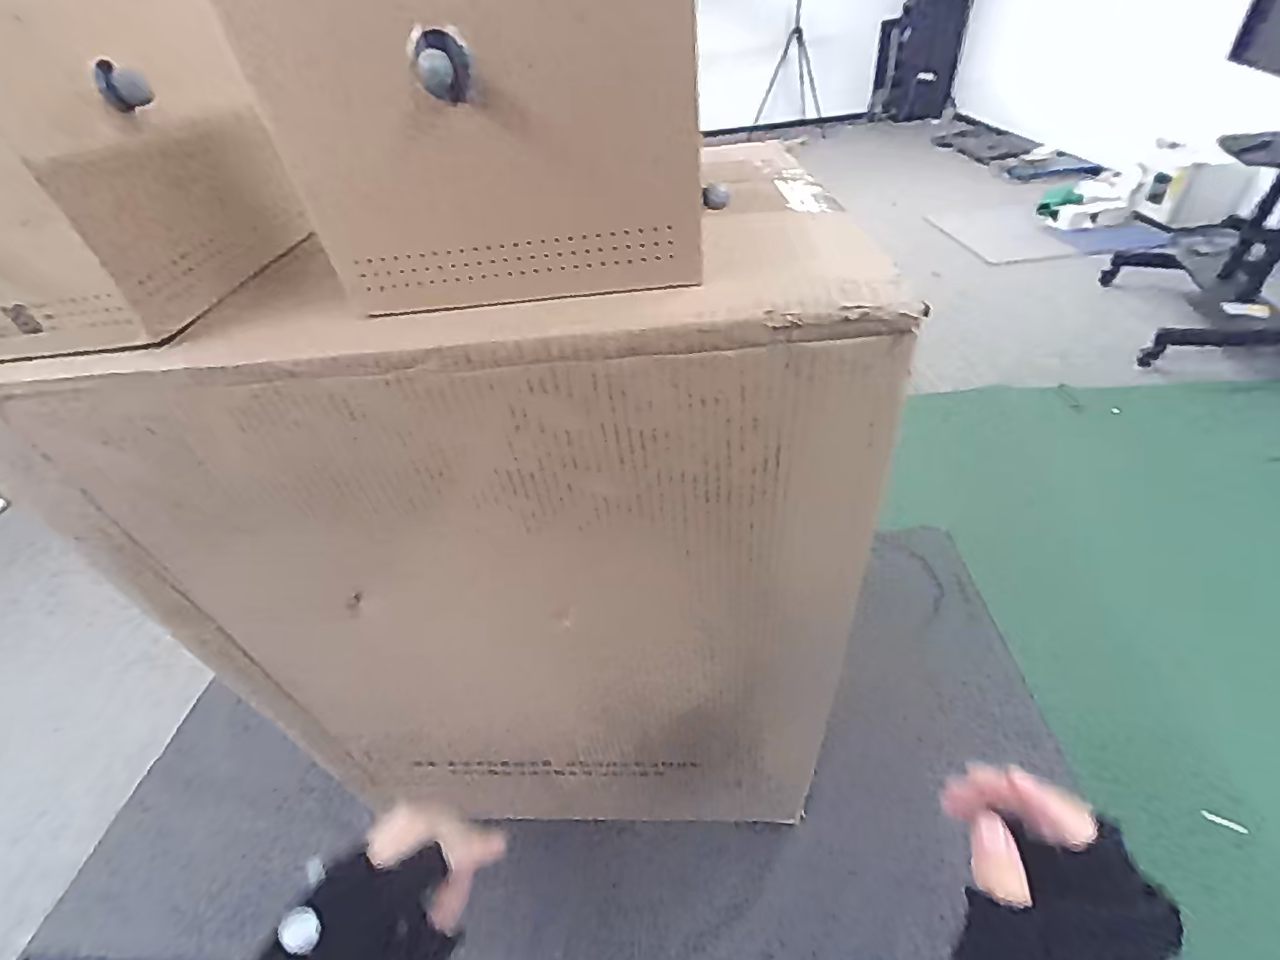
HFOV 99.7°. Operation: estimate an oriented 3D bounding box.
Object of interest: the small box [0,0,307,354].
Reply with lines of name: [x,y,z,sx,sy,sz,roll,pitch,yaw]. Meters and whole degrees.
small box: [-0.328,-0.180,0.294,0.168,0.176,0.179,-3,43,6]
